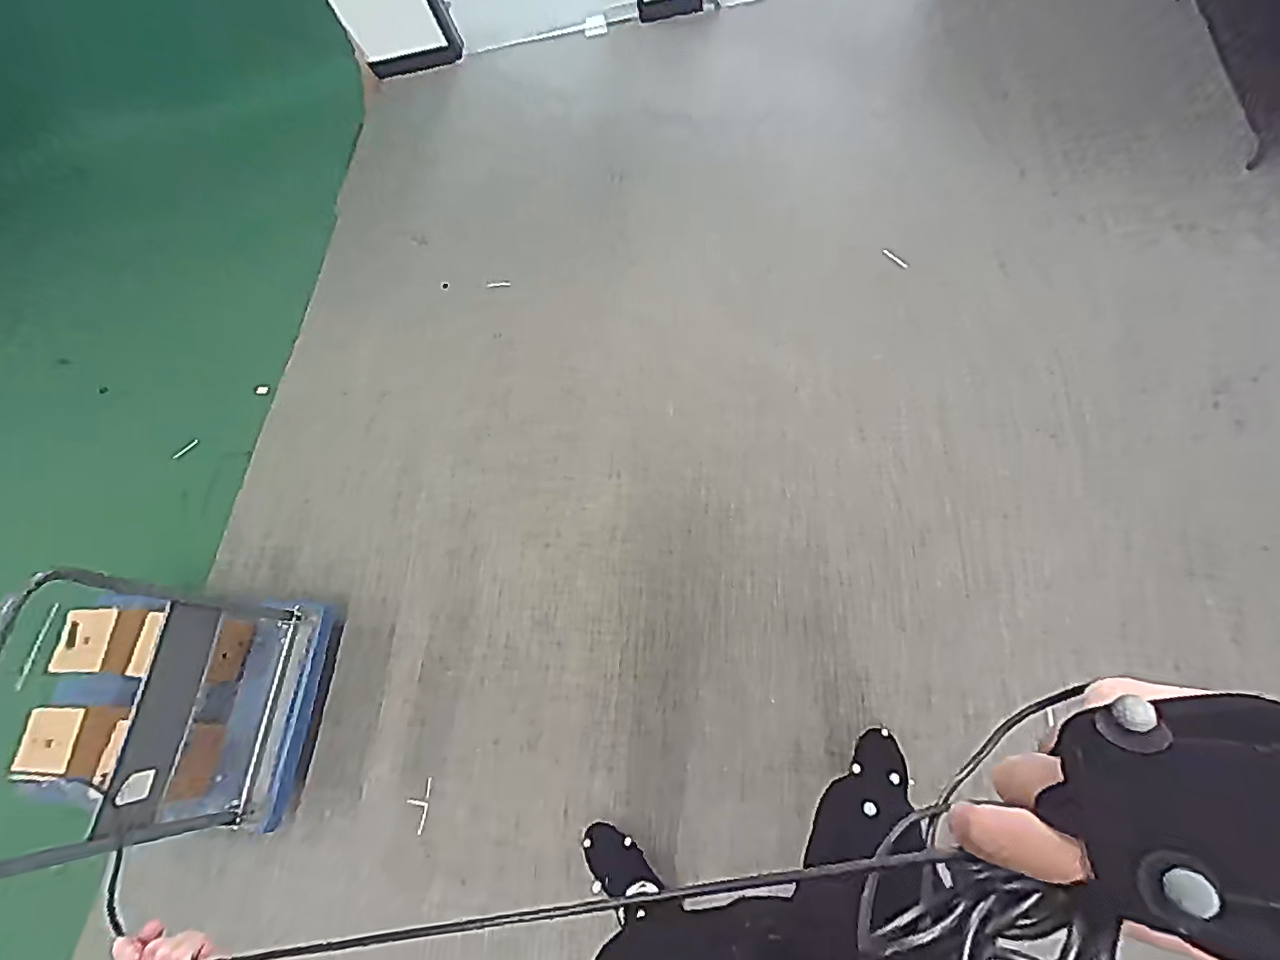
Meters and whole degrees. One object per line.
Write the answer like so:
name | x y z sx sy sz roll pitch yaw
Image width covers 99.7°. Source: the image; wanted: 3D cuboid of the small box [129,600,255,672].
small box | -1.221 0.433 1.485 0.179 0.176 0.168 1 69 12

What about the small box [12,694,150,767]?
small box | -1.487 0.666 1.452 0.179 0.176 0.168 -3 68 11

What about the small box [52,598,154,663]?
small box | -1.485 0.432 1.543 0.179 0.176 0.168 -3 69 10
